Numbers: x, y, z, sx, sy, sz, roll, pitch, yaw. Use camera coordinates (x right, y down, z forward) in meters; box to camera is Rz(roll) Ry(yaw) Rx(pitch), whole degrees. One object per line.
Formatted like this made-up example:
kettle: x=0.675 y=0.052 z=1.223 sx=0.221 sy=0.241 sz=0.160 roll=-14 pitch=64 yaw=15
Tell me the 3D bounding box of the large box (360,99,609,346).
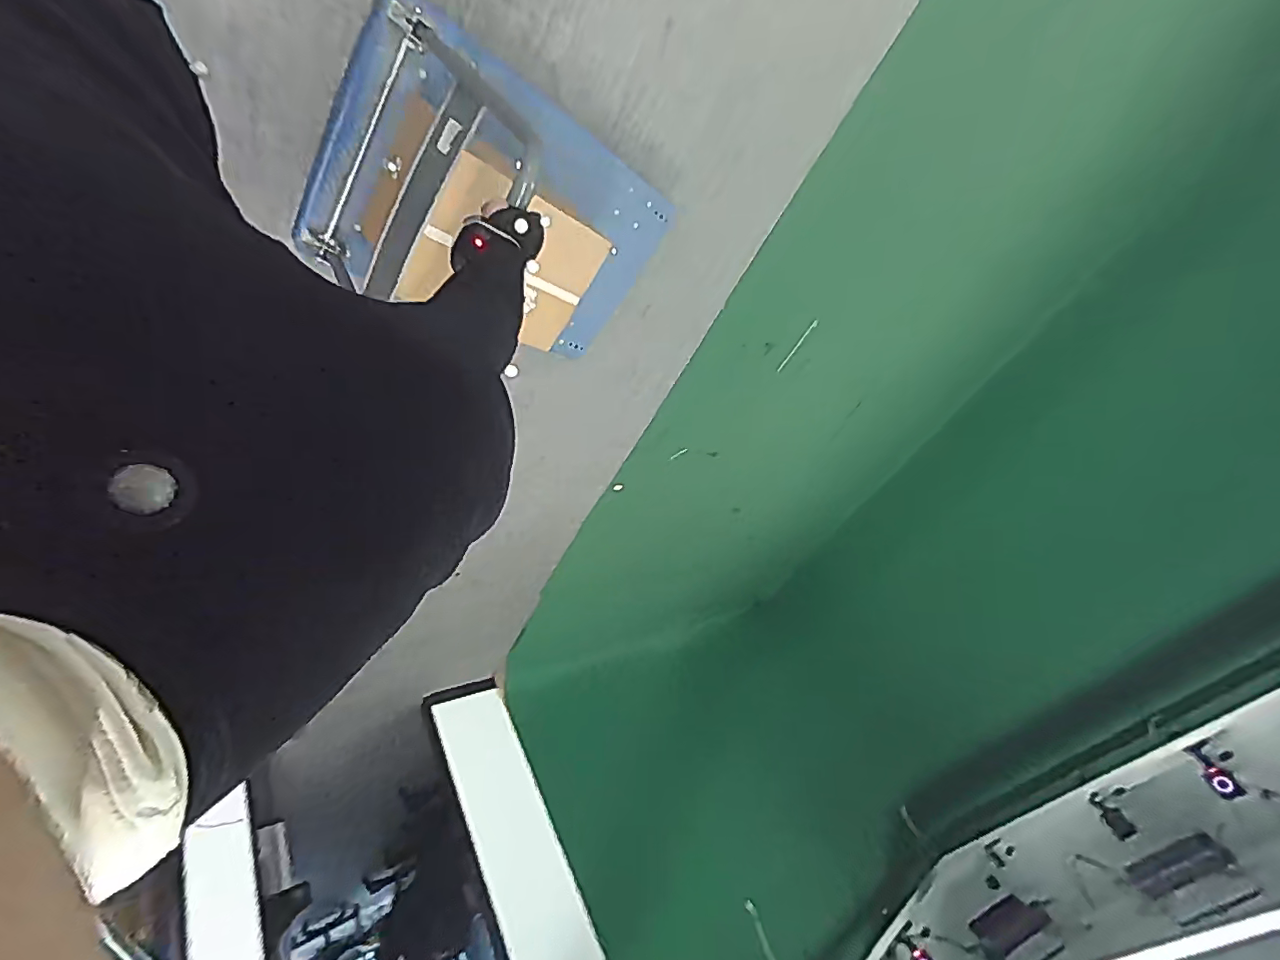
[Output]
large box: x=-0.360 y=-0.569 z=1.245 sx=0.408 sy=0.320 sz=0.320 roll=9 pitch=128 yaw=-48
